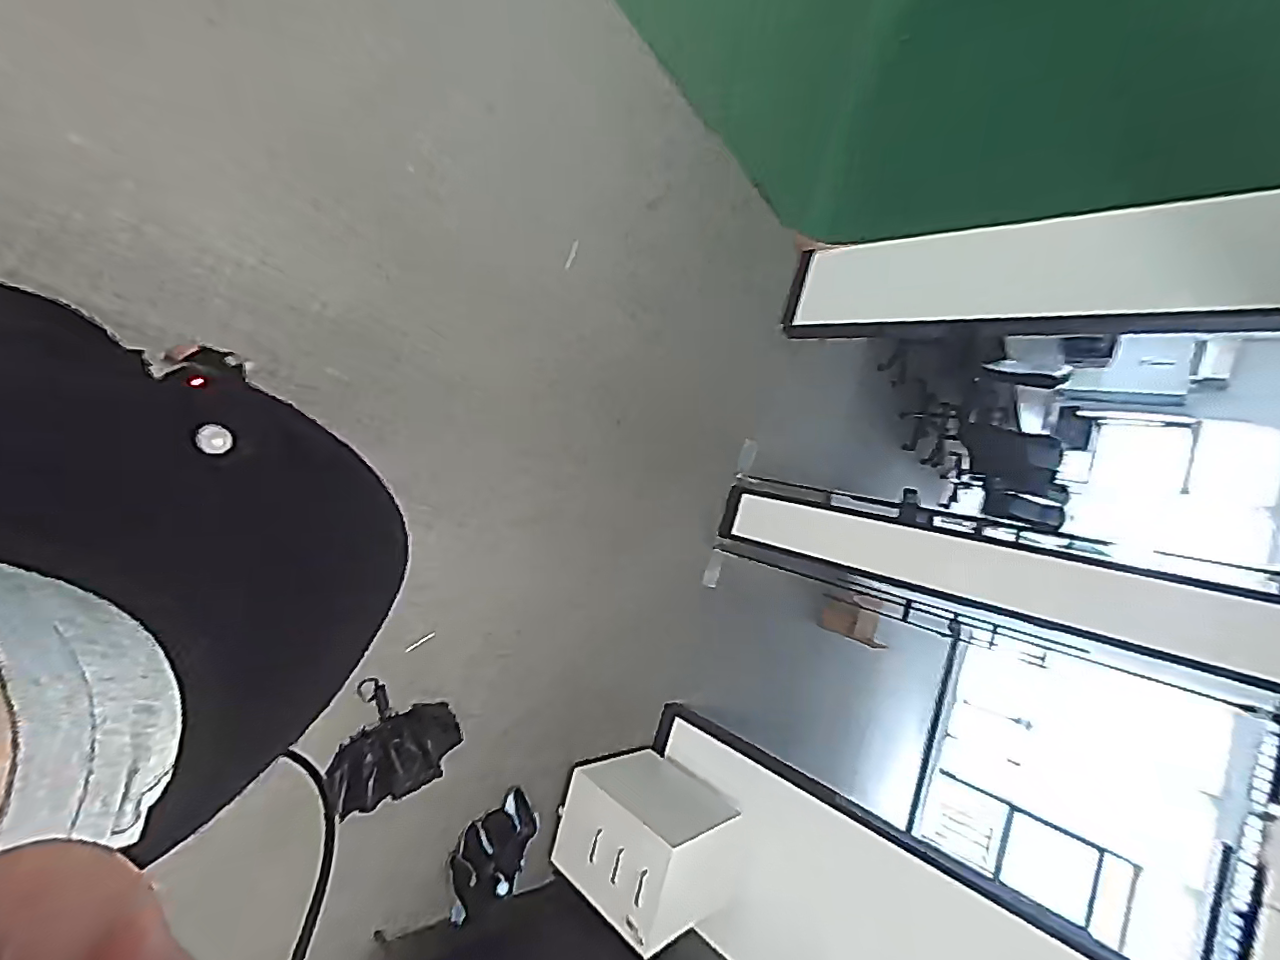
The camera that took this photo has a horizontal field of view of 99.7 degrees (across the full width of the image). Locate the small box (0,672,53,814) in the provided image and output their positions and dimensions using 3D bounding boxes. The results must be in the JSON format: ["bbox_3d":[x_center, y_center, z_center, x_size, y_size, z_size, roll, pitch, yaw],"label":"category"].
[{"bbox_3d":[-1.121,0.436,0.896,0.168,0.176,0.179,22,82,-49],"label":"small box"}]
